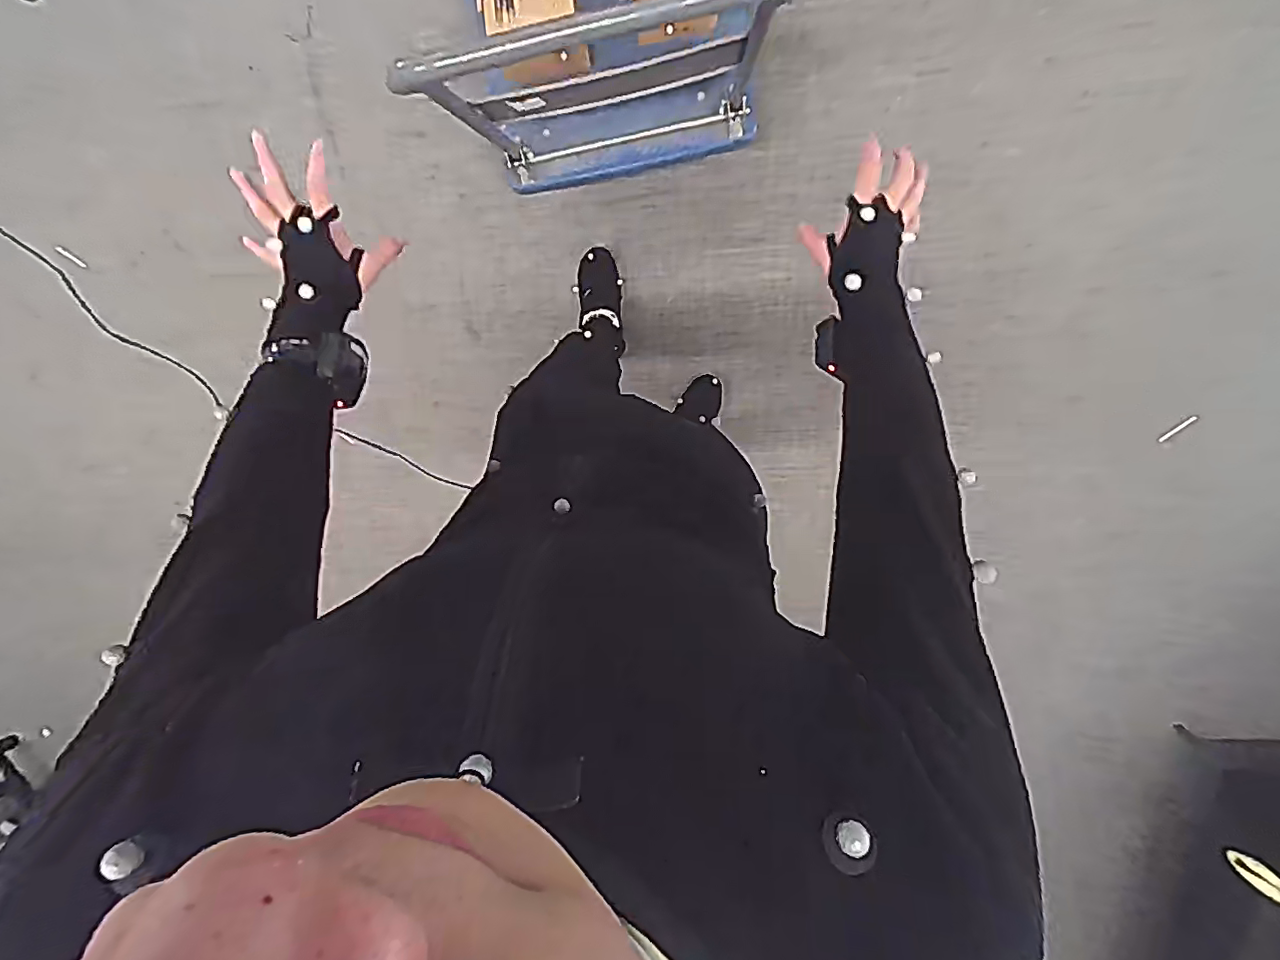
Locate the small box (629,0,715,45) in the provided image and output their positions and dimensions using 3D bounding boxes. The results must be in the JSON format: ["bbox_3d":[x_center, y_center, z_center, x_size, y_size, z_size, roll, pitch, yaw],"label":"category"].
[{"bbox_3d":[0.054,-1.000,1.053,0.168,0.176,0.179,-7,108,7],"label":"small box"}]
